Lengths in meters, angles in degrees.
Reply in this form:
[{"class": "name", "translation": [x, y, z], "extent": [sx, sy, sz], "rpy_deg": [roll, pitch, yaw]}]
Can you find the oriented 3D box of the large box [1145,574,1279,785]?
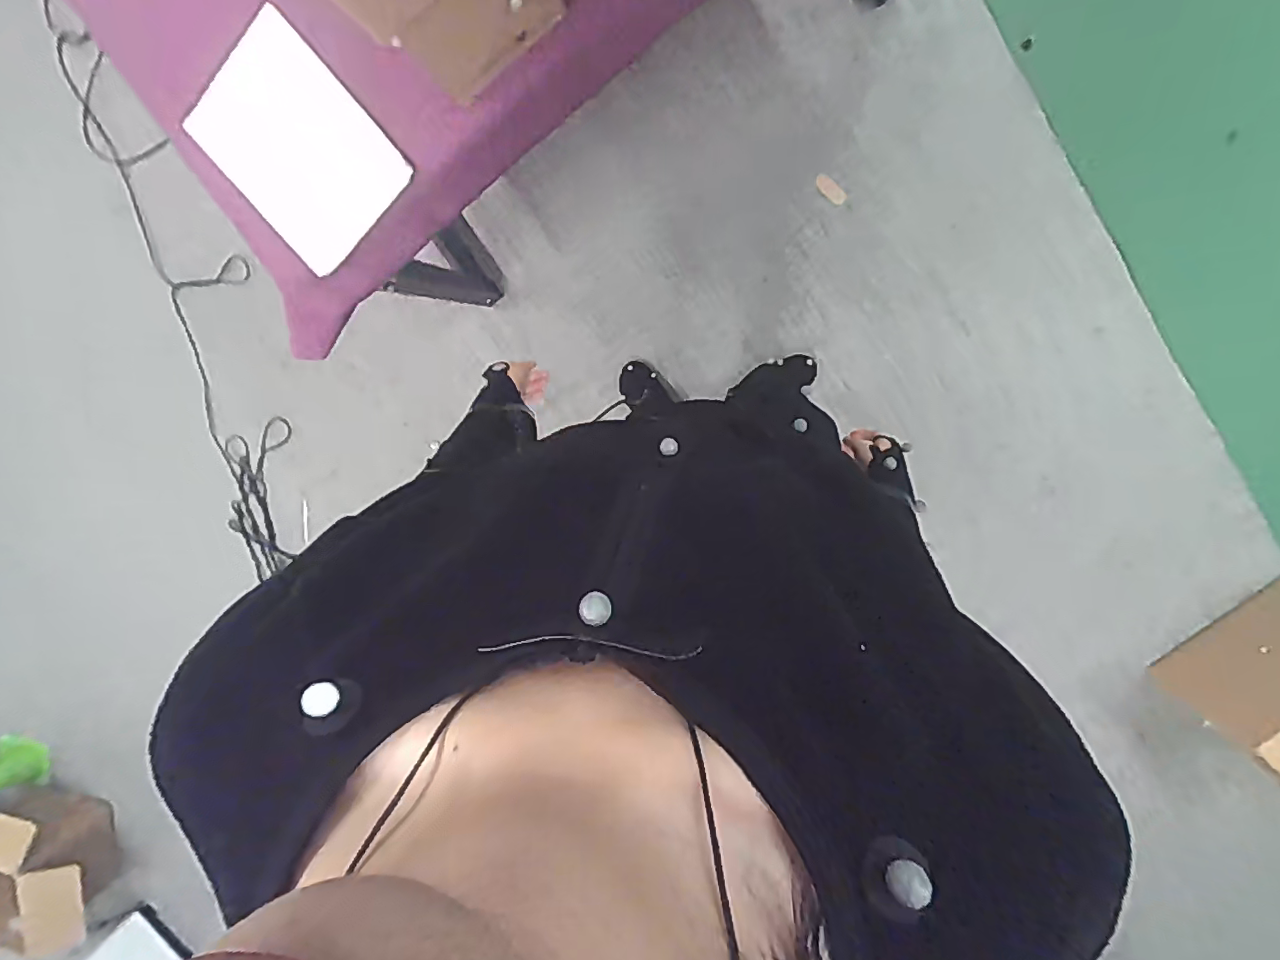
[{"class": "large box", "translation": [1.595, 0.509, 1.297], "extent": [0.320, 0.320, 0.408], "rpy_deg": [41, 104, -5]}]
